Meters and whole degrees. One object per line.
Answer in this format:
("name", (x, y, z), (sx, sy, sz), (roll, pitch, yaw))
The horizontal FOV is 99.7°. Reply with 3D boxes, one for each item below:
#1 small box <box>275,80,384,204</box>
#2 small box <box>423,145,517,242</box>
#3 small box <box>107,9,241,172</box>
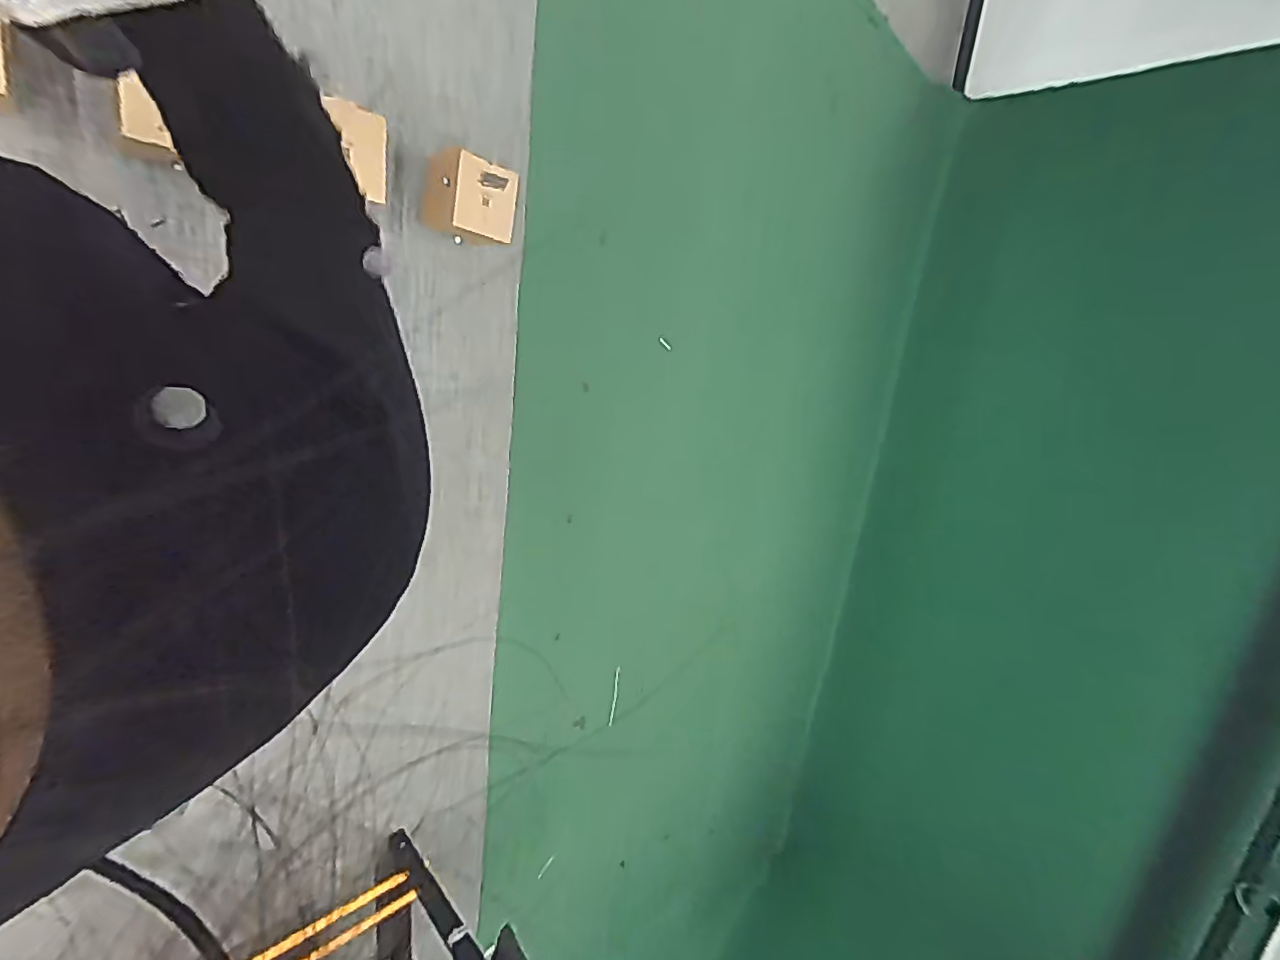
("small box", (-0.668, -0.711, 1.163), (0.168, 0.176, 0.179), (-8, 110, -46))
("small box", (-0.443, -0.731, 1.399), (0.168, 0.176, 0.179), (-2, 107, -47))
("small box", (-0.842, -0.685, 0.978), (0.168, 0.176, 0.179), (-6, 109, -45))
